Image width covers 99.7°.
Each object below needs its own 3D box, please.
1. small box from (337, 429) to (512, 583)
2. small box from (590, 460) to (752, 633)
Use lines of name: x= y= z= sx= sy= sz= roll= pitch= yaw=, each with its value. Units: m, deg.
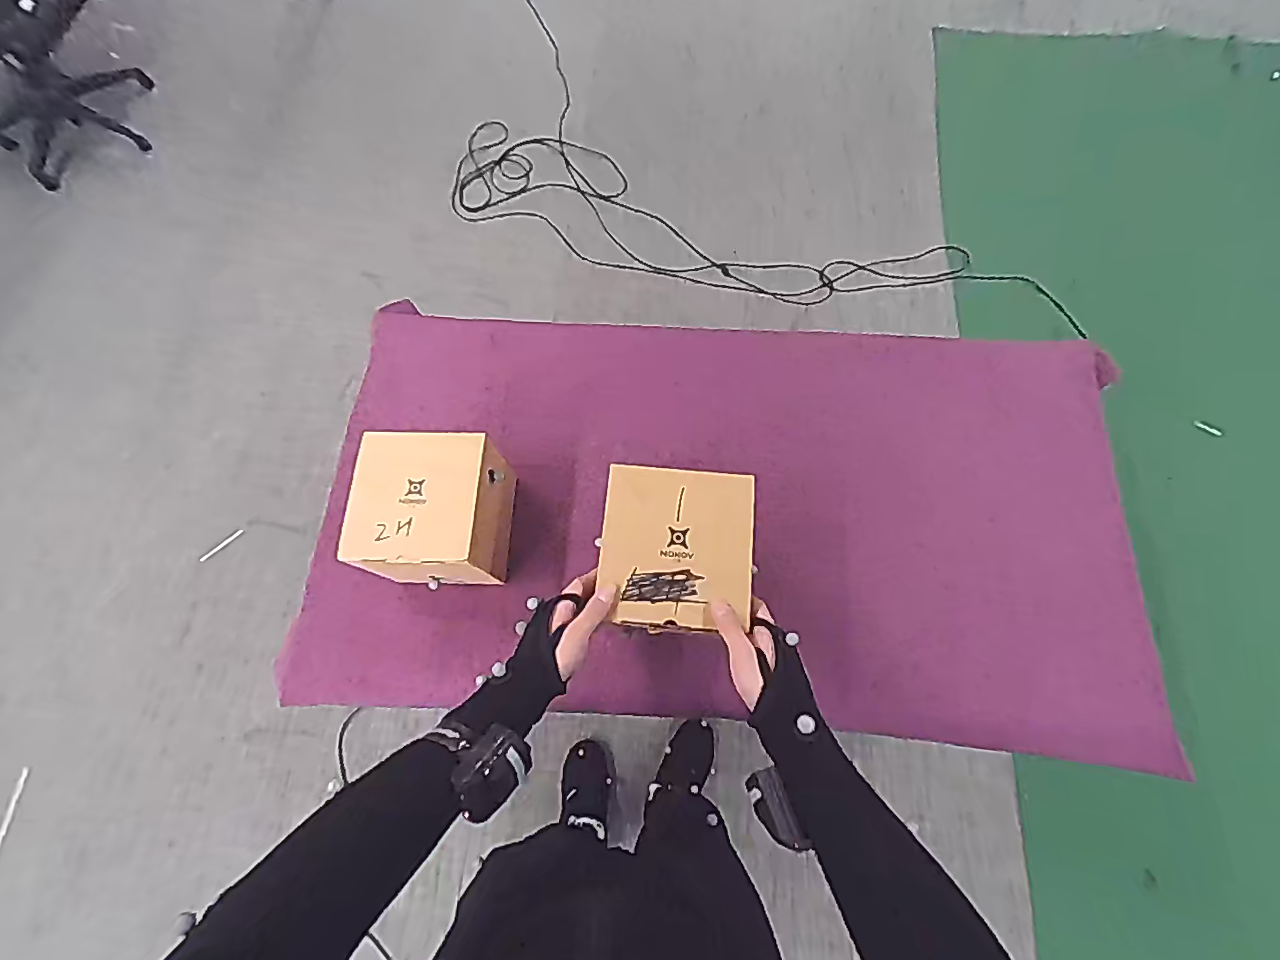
small box: x=-0.286 y=0.043 z=0.762 sx=0.168 sy=0.176 sz=0.179 roll=1 pitch=71 yaw=3
small box: x=0.039 y=0.090 z=0.663 sx=0.168 sy=0.176 sz=0.179 roll=5 pitch=72 yaw=3
